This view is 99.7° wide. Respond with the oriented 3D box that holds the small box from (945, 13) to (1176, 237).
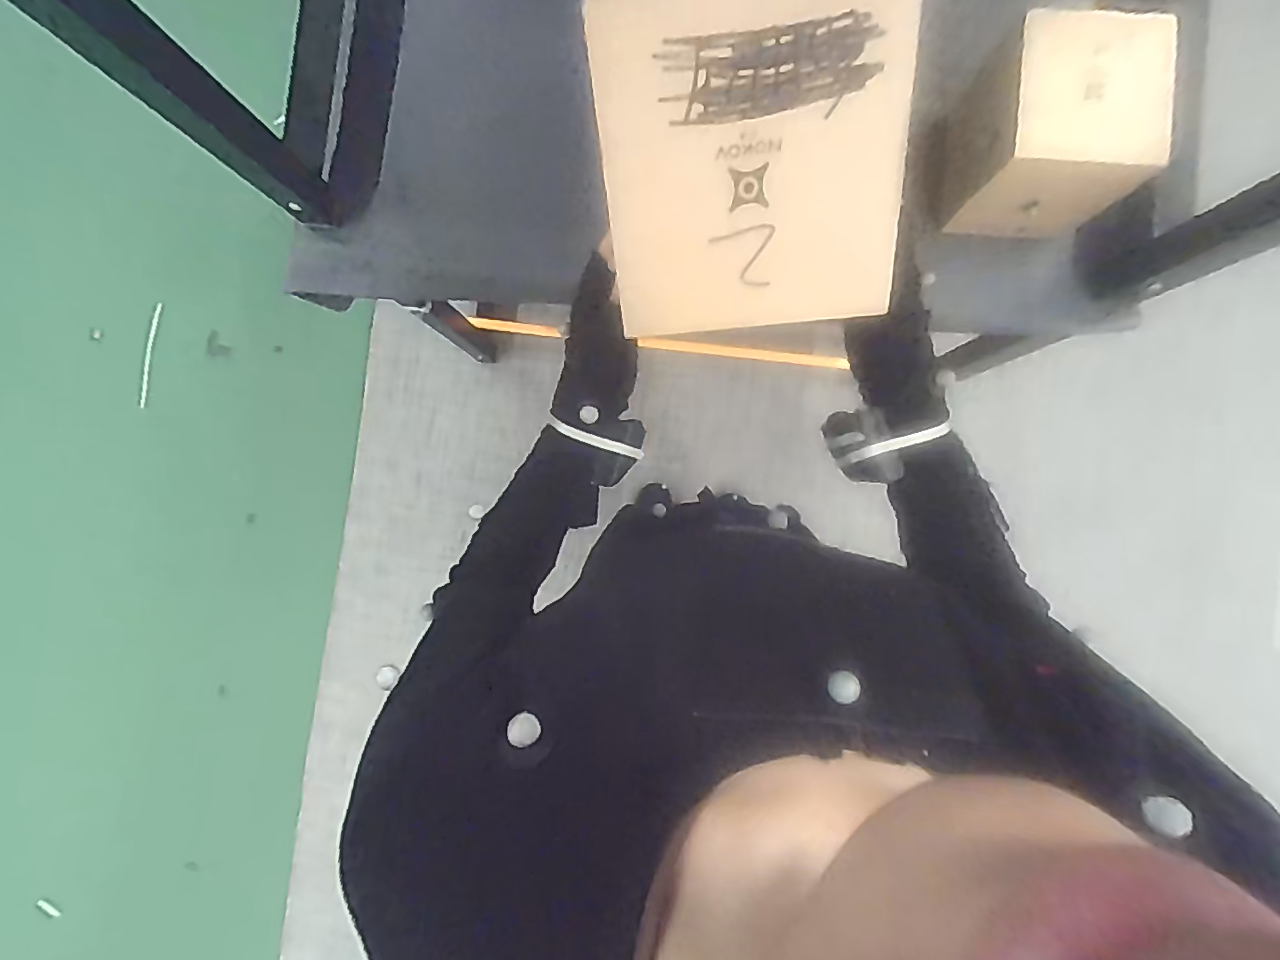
[{"bbox_3d":[0.510,-0.430,0.681,0.168,0.176,0.179,5,87,3],"label":"small box"}]
